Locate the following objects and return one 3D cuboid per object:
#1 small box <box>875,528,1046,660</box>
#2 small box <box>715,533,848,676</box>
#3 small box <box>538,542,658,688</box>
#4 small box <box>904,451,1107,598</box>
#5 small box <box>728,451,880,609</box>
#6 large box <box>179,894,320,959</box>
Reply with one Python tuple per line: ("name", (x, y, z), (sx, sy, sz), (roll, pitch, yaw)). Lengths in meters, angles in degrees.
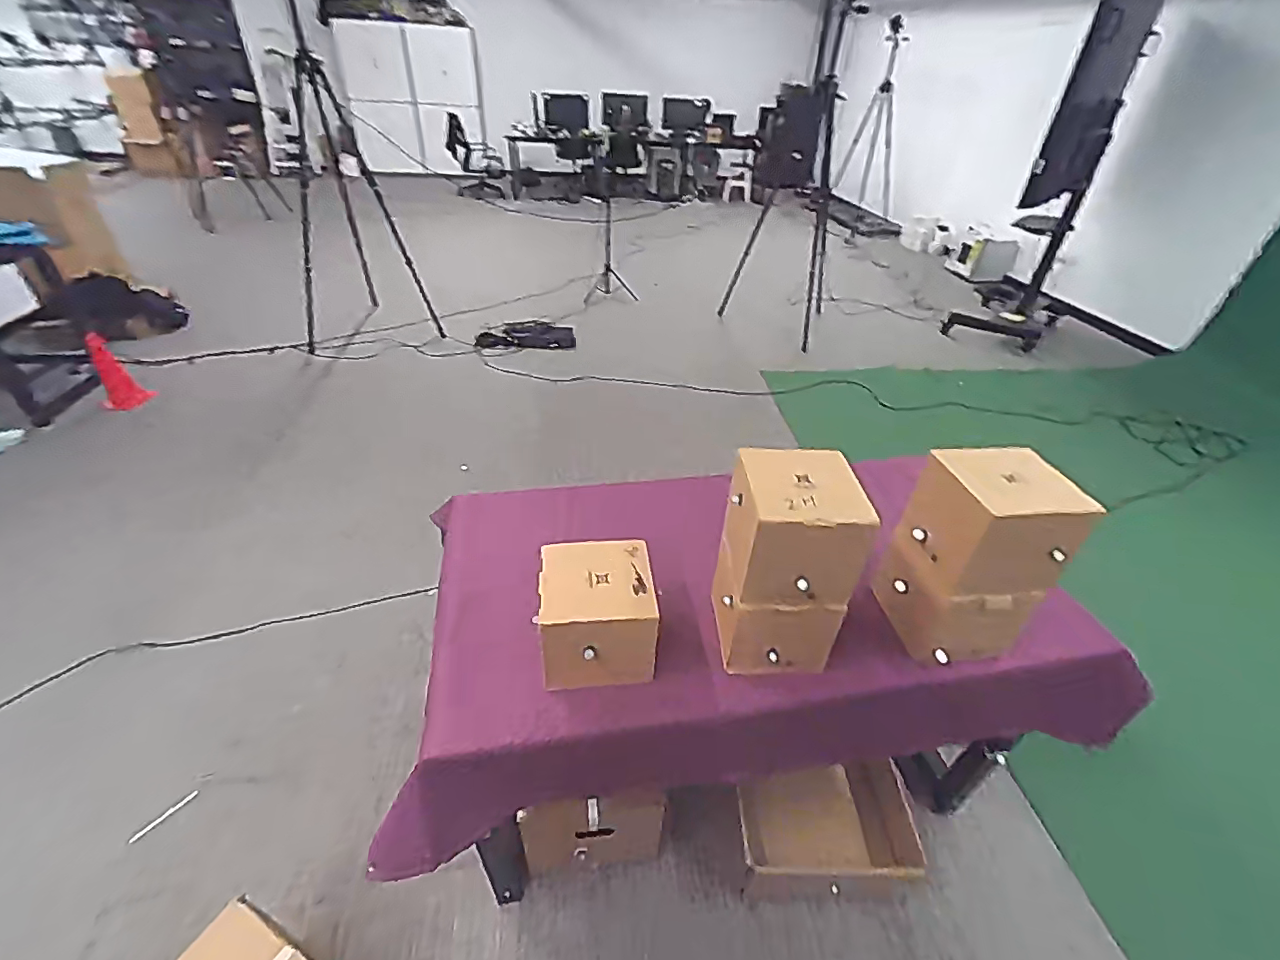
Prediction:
("small box", (0.547, 0.201, 0.952), (0.168, 0.176, 0.179), (-2, 37, -6))
("small box", (0.227, 0.209, 0.924), (0.168, 0.176, 0.179), (1, 38, -3))
("small box", (-0.067, 0.221, 0.884), (0.179, 0.176, 0.168), (-3, 38, -6))
("small box", (0.558, 0.070, 0.856), (0.179, 0.176, 0.168), (-2, 37, -5))
("small box", (0.235, 0.074, 0.830), (0.168, 0.176, 0.179), (1, 38, -1))
("large box", (-0.694, 1.024, 0.880), (0.320, 0.320, 0.408), (21, 40, 20))
